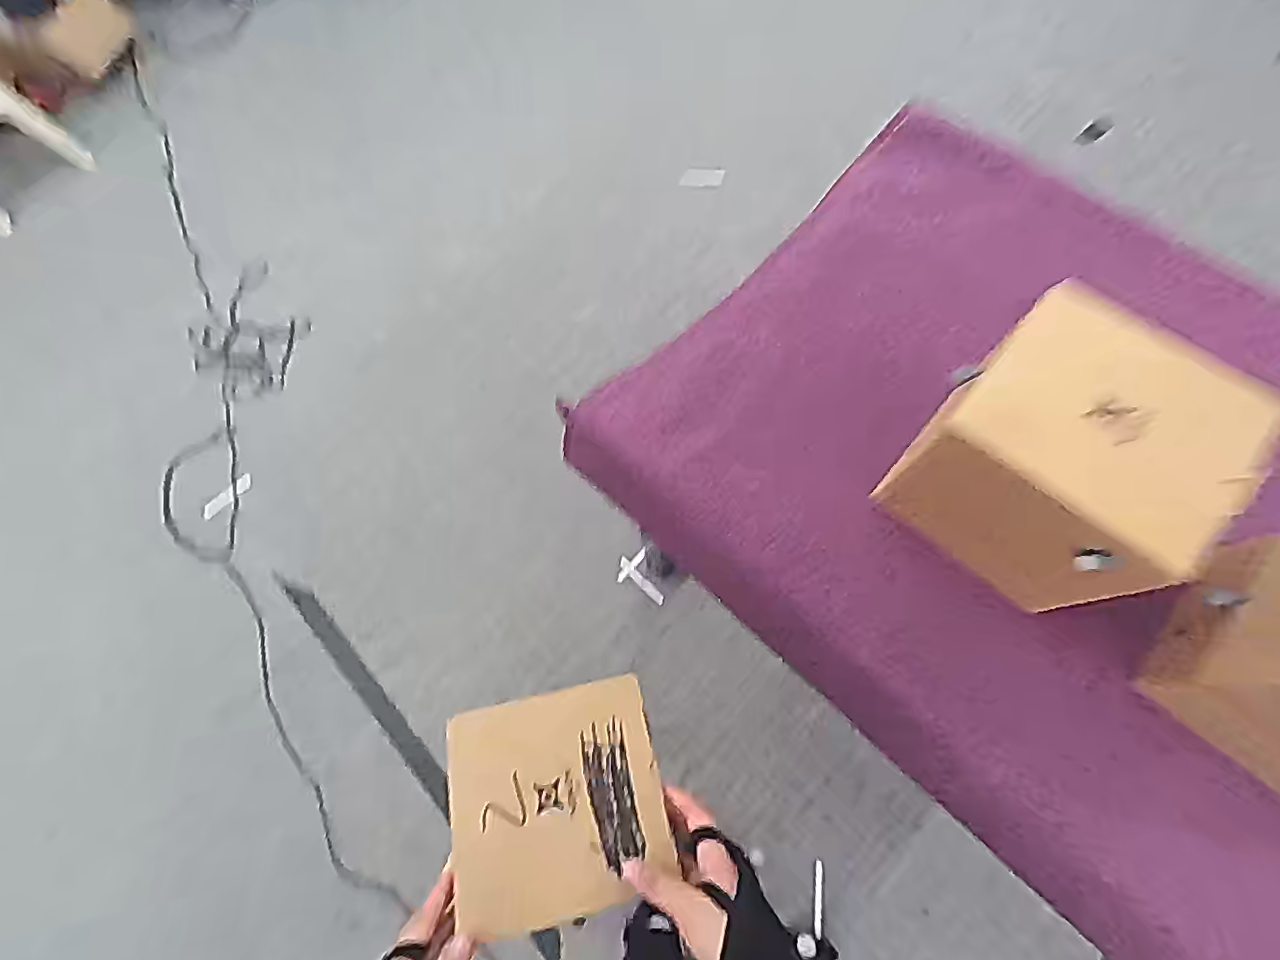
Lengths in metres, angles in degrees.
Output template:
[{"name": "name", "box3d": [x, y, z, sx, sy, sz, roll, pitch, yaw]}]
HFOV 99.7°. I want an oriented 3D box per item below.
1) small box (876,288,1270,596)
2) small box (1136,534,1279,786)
[{"name": "small box", "box3d": [0.342, -0.019, 0.468, 0.179, 0.176, 0.168, 39, 76, 15]}, {"name": "small box", "box3d": [0.541, 0.141, 0.393, 0.179, 0.176, 0.168, 40, 75, 17]}]
